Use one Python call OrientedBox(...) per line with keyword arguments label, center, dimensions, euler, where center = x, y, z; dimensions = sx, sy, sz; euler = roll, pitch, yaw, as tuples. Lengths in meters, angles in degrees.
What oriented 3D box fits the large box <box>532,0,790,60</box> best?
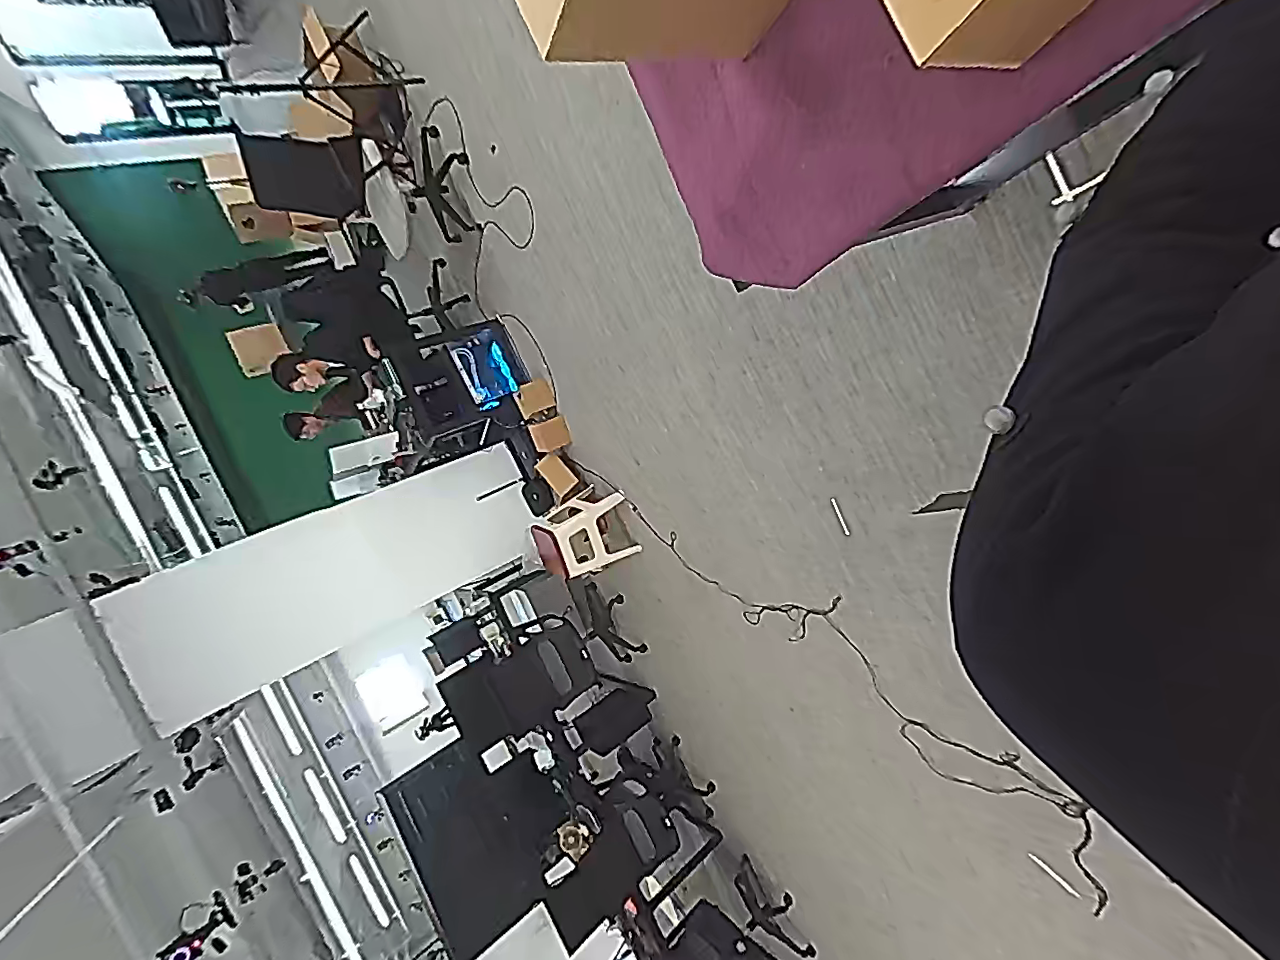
OrientedBox(label="large box", center=(0.012, -0.699, 0.496), dimensions=(0.408, 0.320, 0.320), euler=(62, 151, -3))
